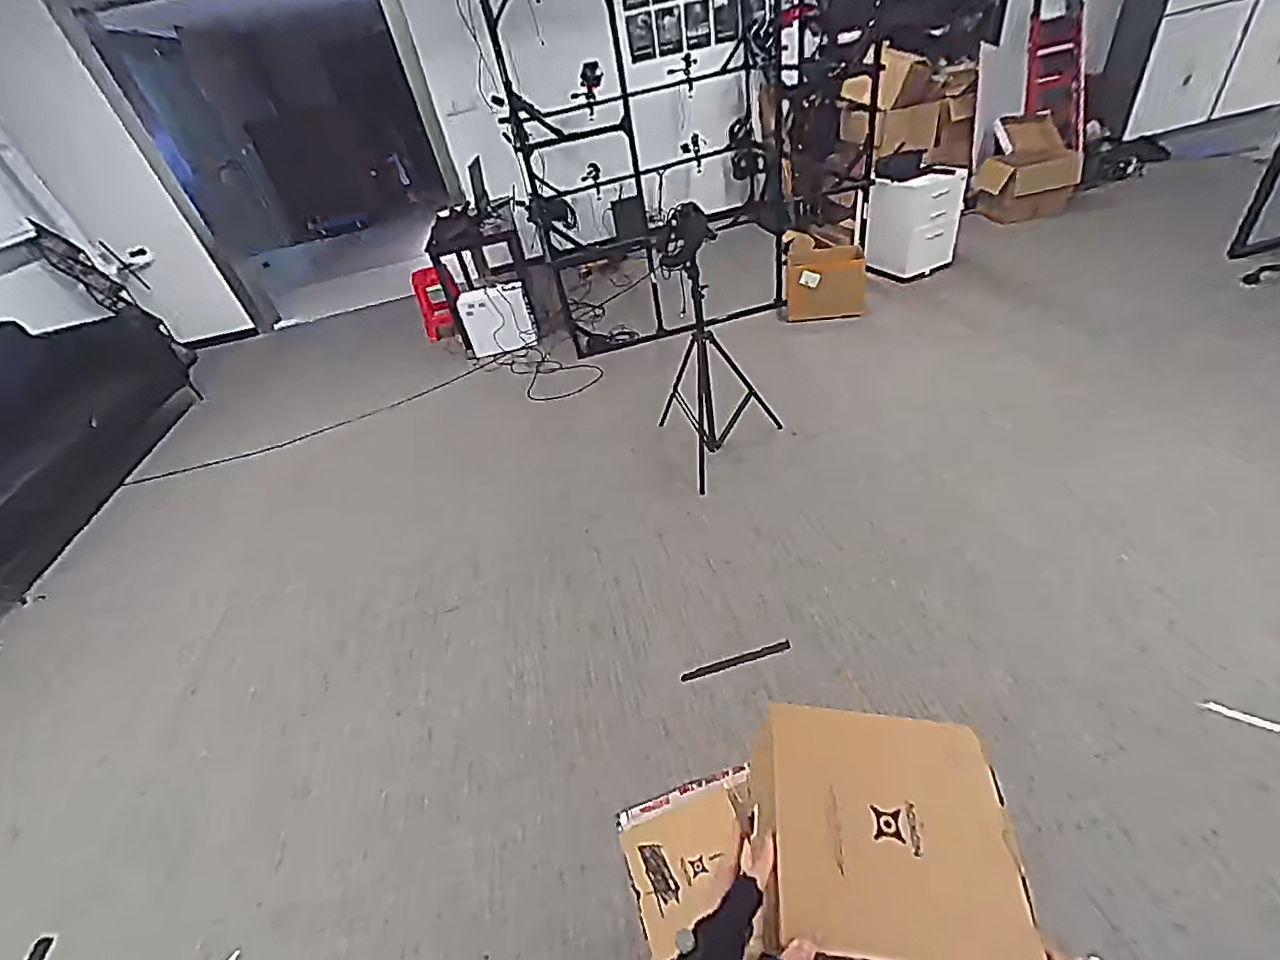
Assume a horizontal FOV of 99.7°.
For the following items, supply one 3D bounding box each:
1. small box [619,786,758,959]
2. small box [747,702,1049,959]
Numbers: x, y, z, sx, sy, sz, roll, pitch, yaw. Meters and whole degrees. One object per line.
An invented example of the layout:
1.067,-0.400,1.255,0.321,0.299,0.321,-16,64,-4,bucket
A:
0.089,0.602,0.802,0.179,0.176,0.168,-20,37,-8,small box
0.191,0.311,0.463,0.179,0.176,0.168,3,47,6,small box
